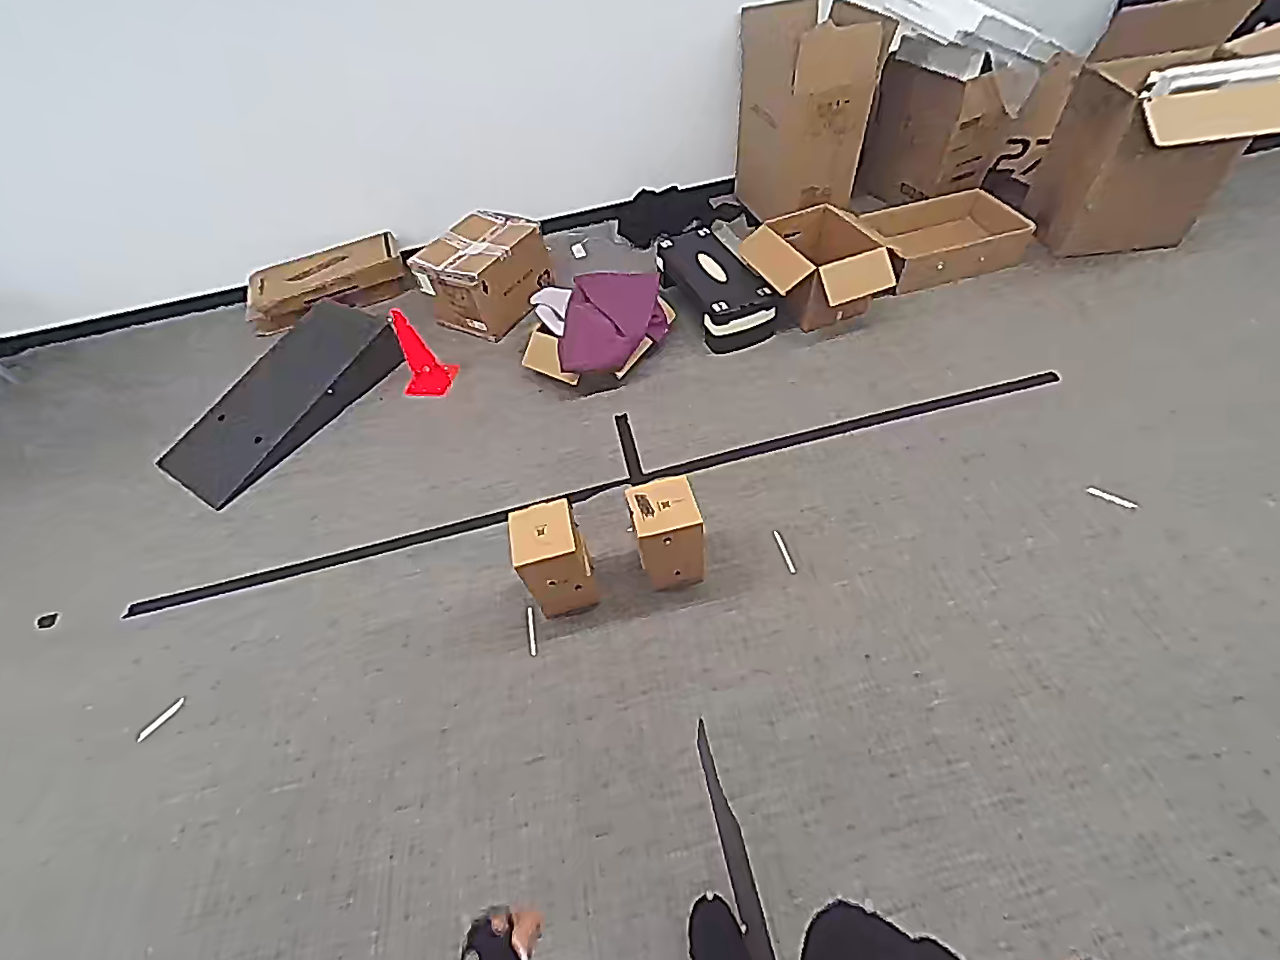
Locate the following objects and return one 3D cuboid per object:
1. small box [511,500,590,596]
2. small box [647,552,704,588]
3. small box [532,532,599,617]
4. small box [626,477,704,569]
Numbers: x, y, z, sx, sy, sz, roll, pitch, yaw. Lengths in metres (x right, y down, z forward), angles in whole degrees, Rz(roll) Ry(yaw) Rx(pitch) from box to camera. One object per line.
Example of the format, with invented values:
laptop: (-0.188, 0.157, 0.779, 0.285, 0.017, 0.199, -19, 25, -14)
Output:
small box: (-0.244, 0.188, 1.477, 0.168, 0.176, 0.179, -16, 53, -2)
small box: (0.095, 0.209, 1.623, 0.168, 0.176, 0.179, -12, 52, -2)
small box: (-0.224, 0.283, 1.607, 0.179, 0.176, 0.168, -16, 51, -4)
small box: (0.071, 0.122, 1.483, 0.179, 0.176, 0.168, -14, 52, -4)
